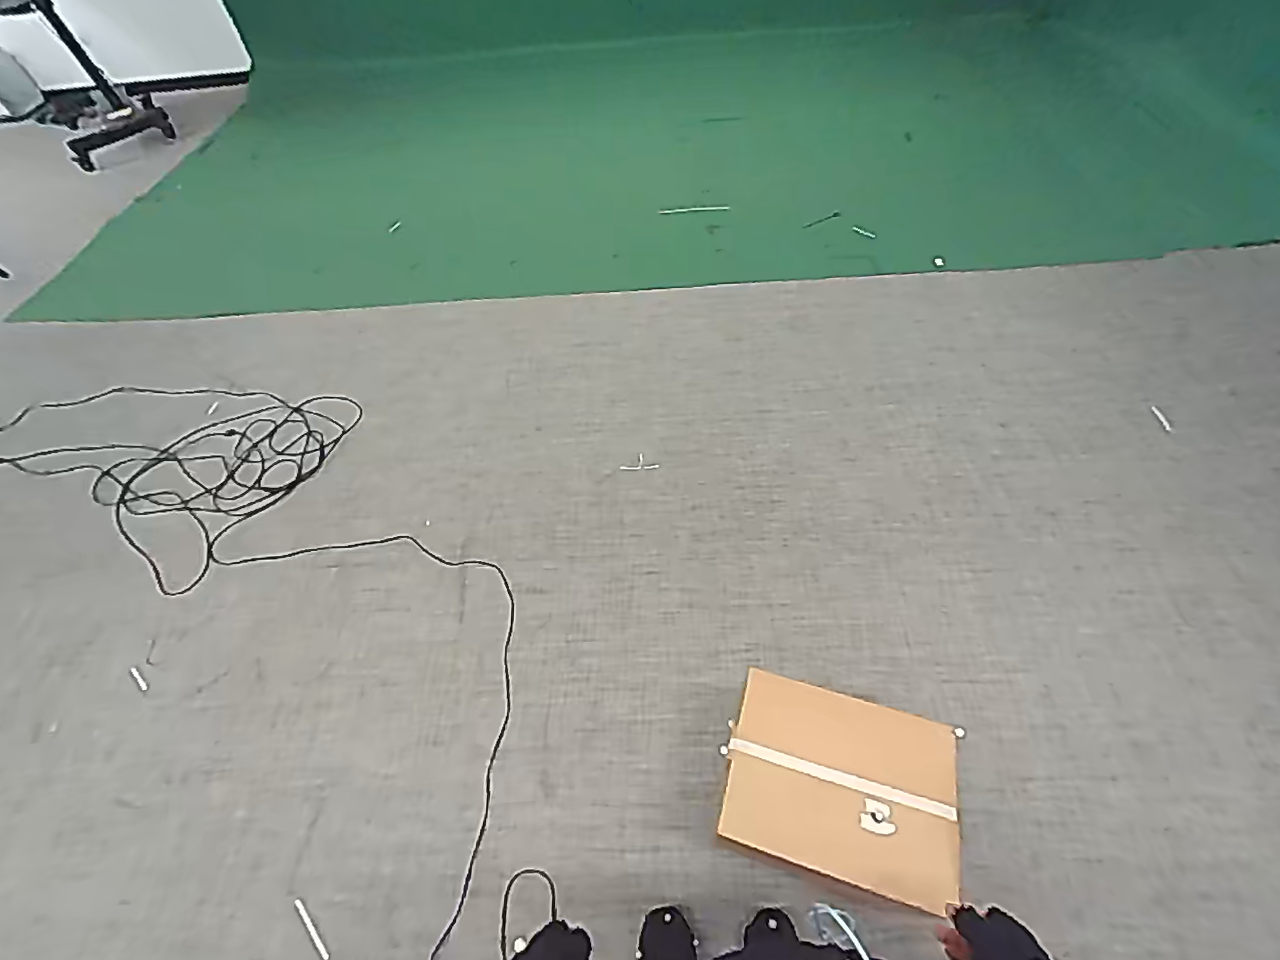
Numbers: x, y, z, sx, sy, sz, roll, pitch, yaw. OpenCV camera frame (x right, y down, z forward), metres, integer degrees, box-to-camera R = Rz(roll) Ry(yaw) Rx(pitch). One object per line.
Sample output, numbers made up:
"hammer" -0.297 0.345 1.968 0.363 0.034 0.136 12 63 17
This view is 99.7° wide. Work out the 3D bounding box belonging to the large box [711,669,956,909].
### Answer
"large box" 0.382 0.644 1.138 0.408 0.320 0.320 13 56 12
